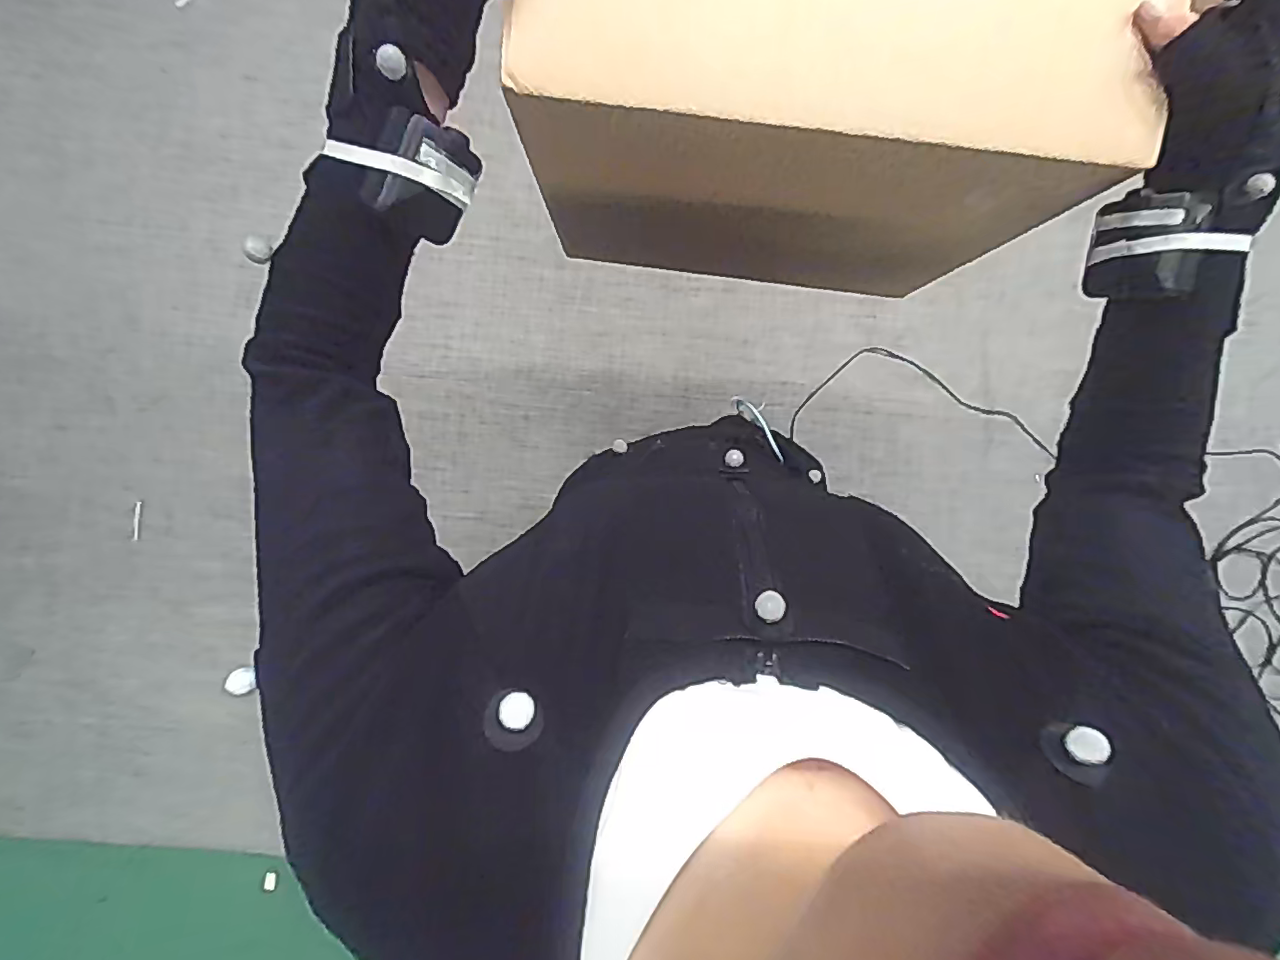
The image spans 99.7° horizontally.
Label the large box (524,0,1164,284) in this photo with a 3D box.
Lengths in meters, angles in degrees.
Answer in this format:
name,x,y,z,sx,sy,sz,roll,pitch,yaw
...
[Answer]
name,x,y,z,sx,sy,sz,roll,pitch,yaw
large box,0.131,-0.386,0.478,0.408,0.320,0.320,6,95,-2
